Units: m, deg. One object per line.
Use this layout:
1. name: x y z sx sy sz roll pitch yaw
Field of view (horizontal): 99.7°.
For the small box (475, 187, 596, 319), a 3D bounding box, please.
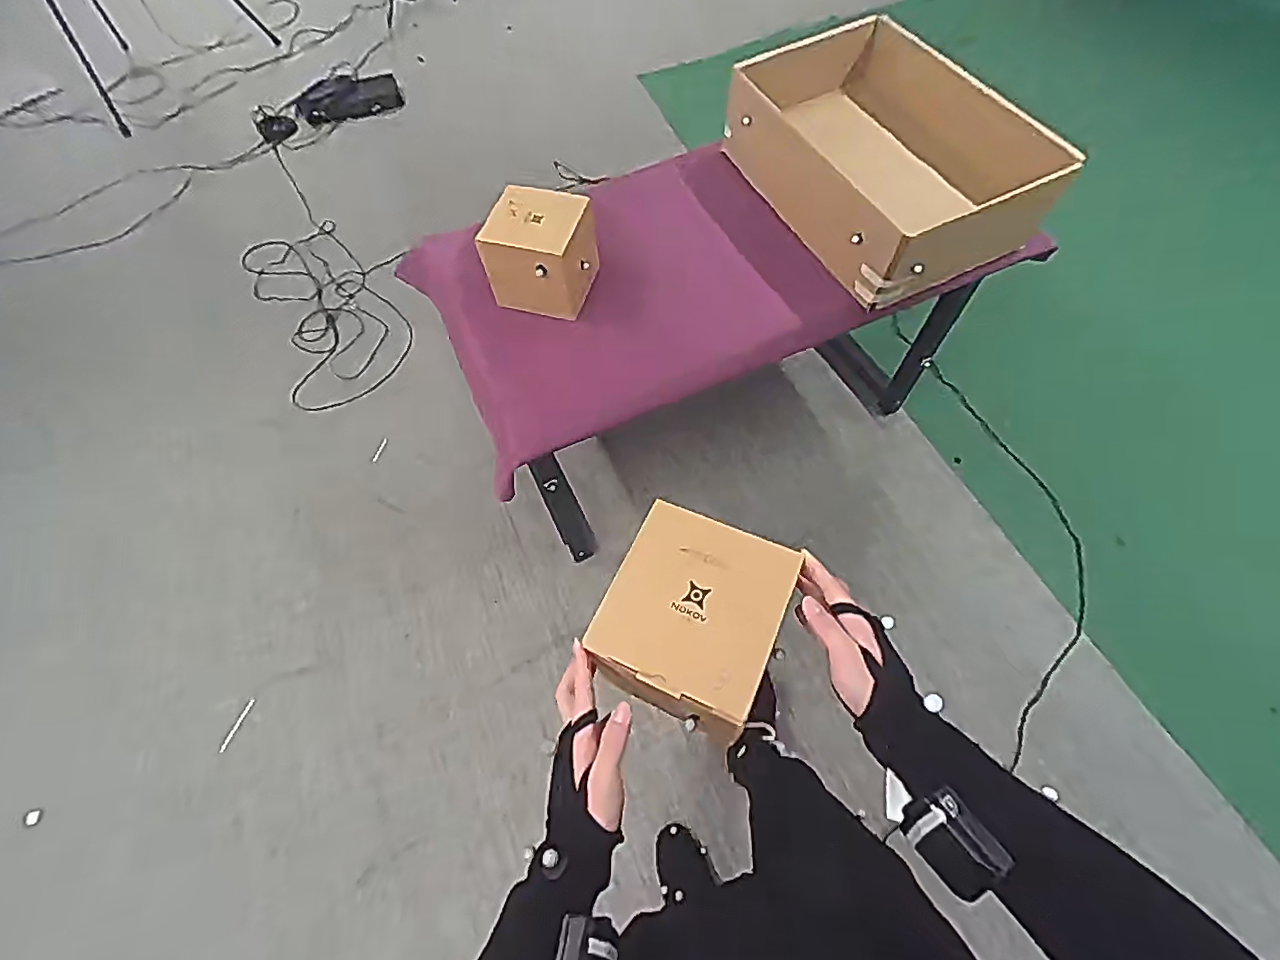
1. small box: -0.197 -0.449 1.086 0.179 0.176 0.168 14 64 9
